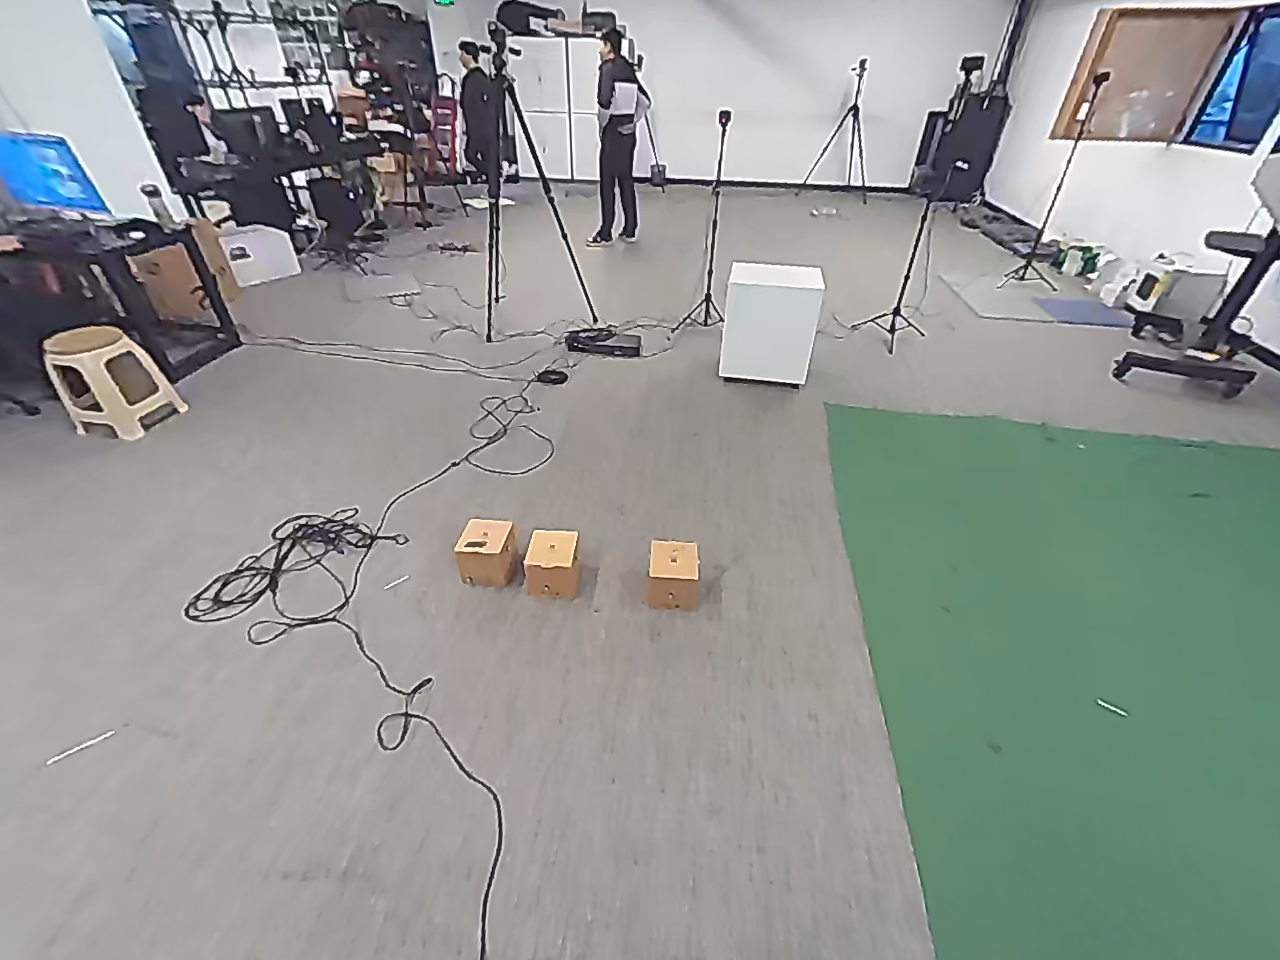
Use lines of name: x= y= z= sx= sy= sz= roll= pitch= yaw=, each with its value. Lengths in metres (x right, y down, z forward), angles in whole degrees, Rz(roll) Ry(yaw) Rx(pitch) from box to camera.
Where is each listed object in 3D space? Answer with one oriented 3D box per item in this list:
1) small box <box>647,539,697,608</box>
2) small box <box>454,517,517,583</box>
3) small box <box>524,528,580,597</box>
small box: x=0.113 y=0.332 z=1.909 sx=0.168 sy=0.176 sz=0.179 roll=4 pitch=38 yaw=1
small box: x=-0.560 y=0.260 z=1.984 sx=0.168 sy=0.176 sz=0.179 roll=4 pitch=37 yaw=4
small box: x=-0.310 y=0.297 z=1.944 sx=0.168 sy=0.176 sz=0.179 roll=2 pitch=39 yaw=2
